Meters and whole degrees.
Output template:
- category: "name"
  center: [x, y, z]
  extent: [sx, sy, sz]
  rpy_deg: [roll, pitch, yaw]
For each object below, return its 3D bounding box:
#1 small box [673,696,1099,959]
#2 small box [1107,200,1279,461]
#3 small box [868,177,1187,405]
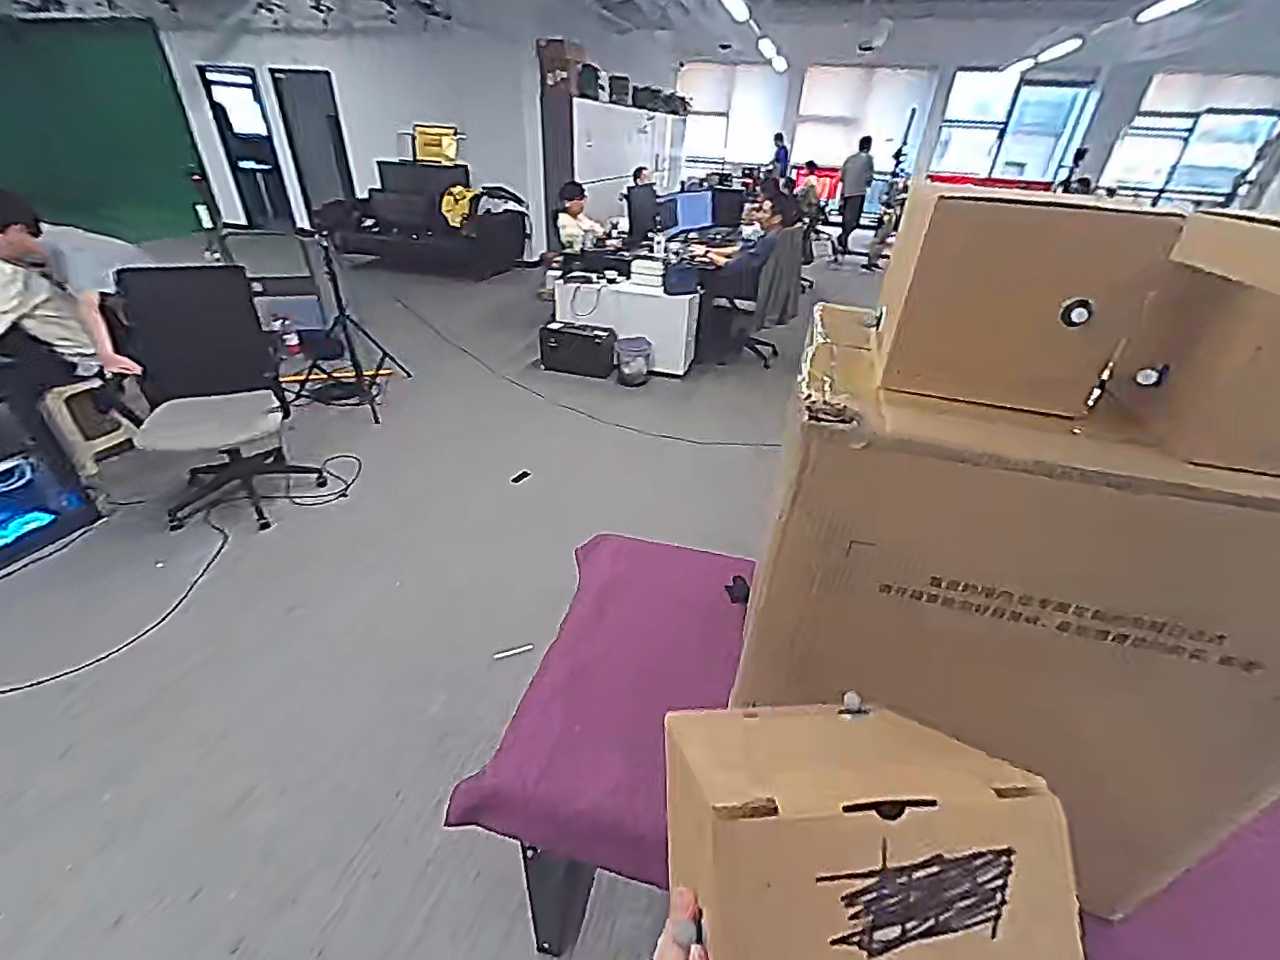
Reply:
- category: "small box"
  center: [0.112, 0.229, 0.308]
  extent: [0.168, 0.179, 0.176]
  rpy_deg: [-1, -9, -4]
- category: "small box"
  center: [0.531, -0.116, 0.428]
  extent: [0.168, 0.176, 0.179]
  rpy_deg: [11, 33, 13]
- category: "small box"
  center: [0.335, -0.184, 0.517]
  extent: [0.179, 0.176, 0.168]
  rpy_deg: [11, 33, 12]
